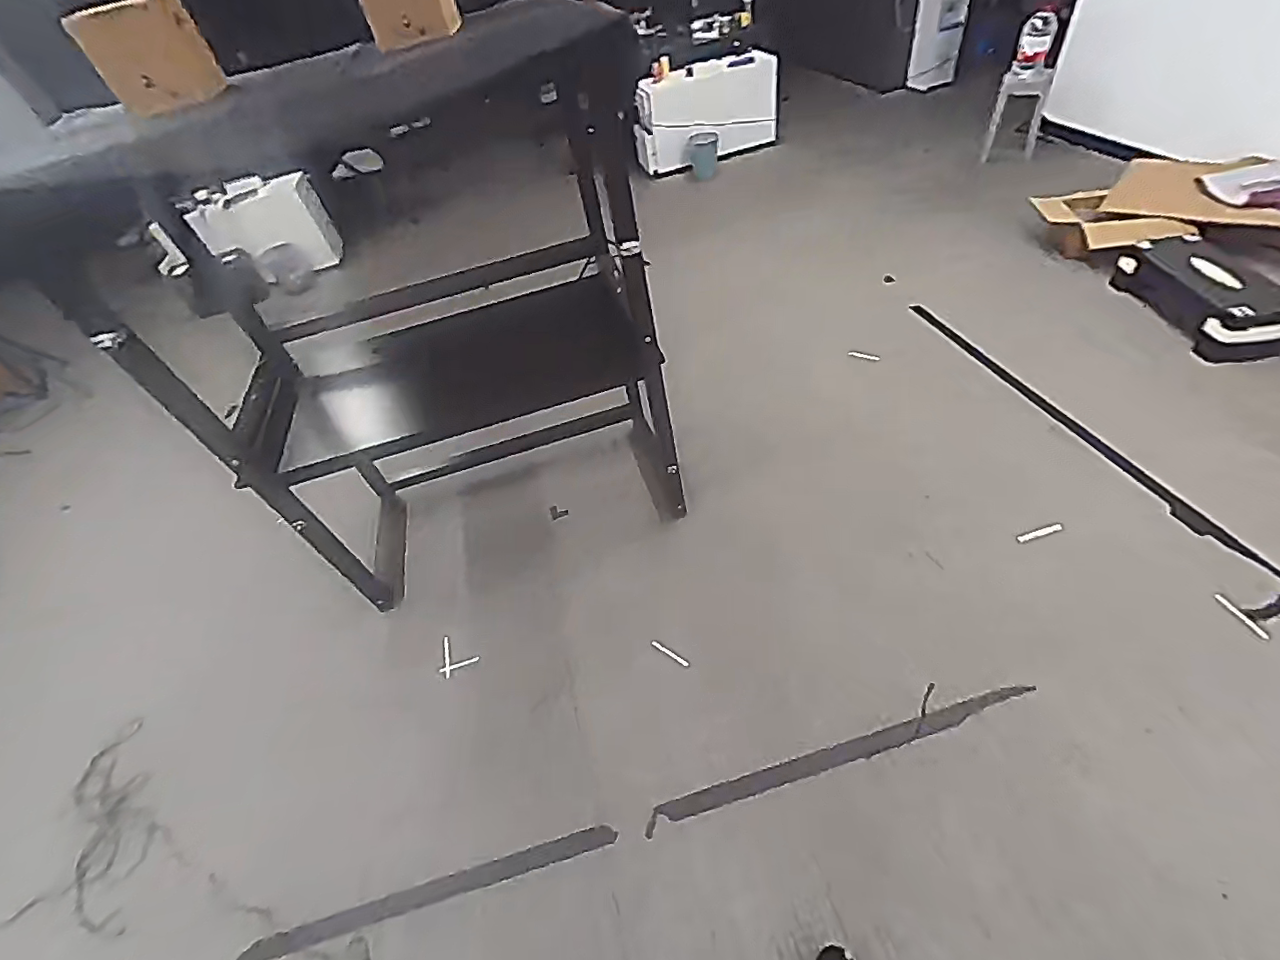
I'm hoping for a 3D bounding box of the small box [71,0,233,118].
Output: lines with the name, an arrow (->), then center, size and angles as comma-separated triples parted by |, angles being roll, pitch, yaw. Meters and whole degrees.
small box -> -1.006, -0.889, 1.138 | 0.168, 0.176, 0.179 | -19, 48, -4
